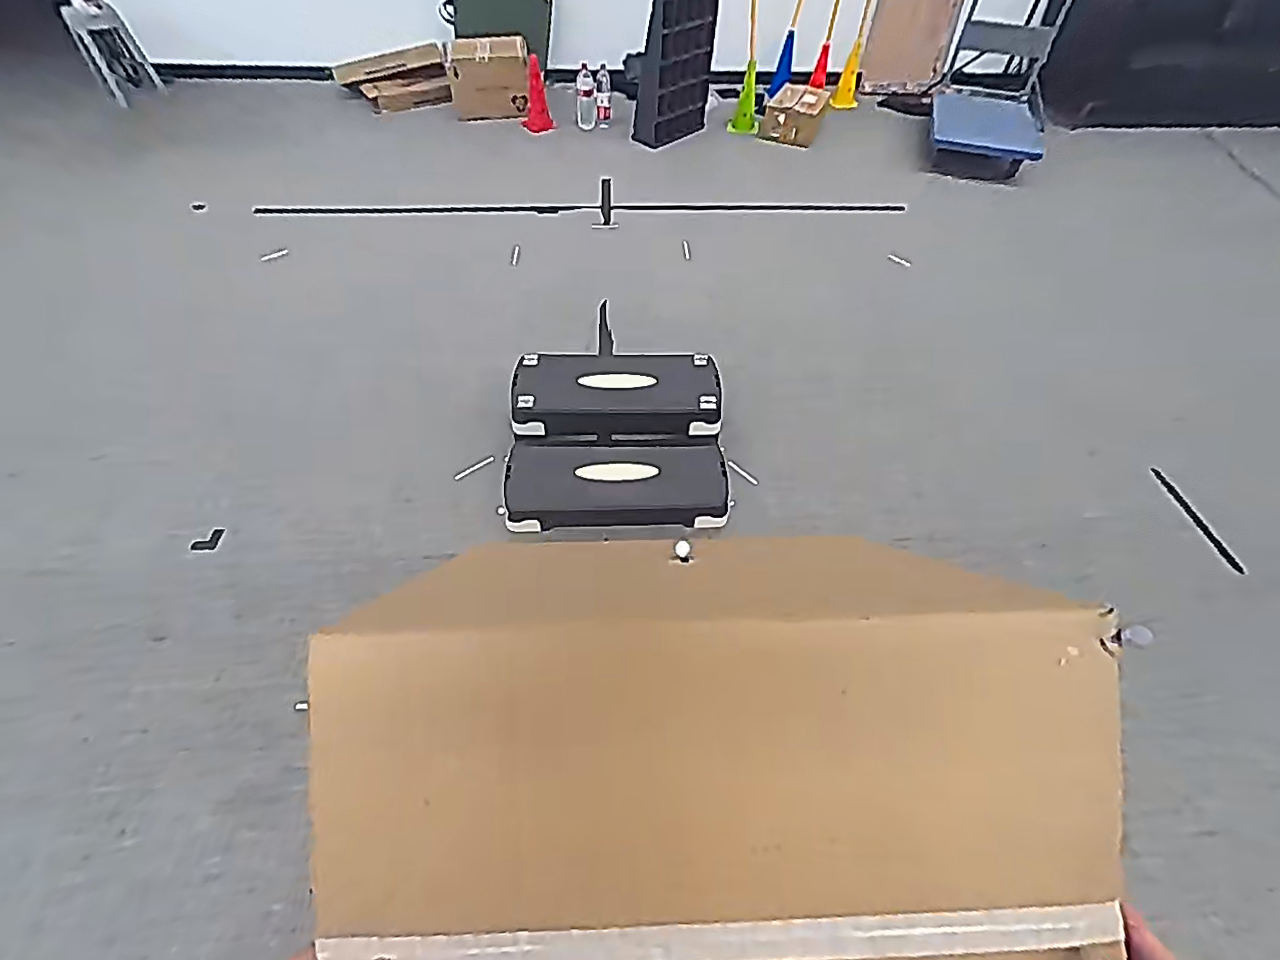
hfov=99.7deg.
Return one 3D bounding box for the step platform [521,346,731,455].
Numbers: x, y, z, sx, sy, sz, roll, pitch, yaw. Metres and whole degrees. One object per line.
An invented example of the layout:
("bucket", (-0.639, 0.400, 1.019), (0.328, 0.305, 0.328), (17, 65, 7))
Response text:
("step platform", (-0.043, -0.267, 1.785), (0.684, 0.204, 0.286), (4, 52, 0))
